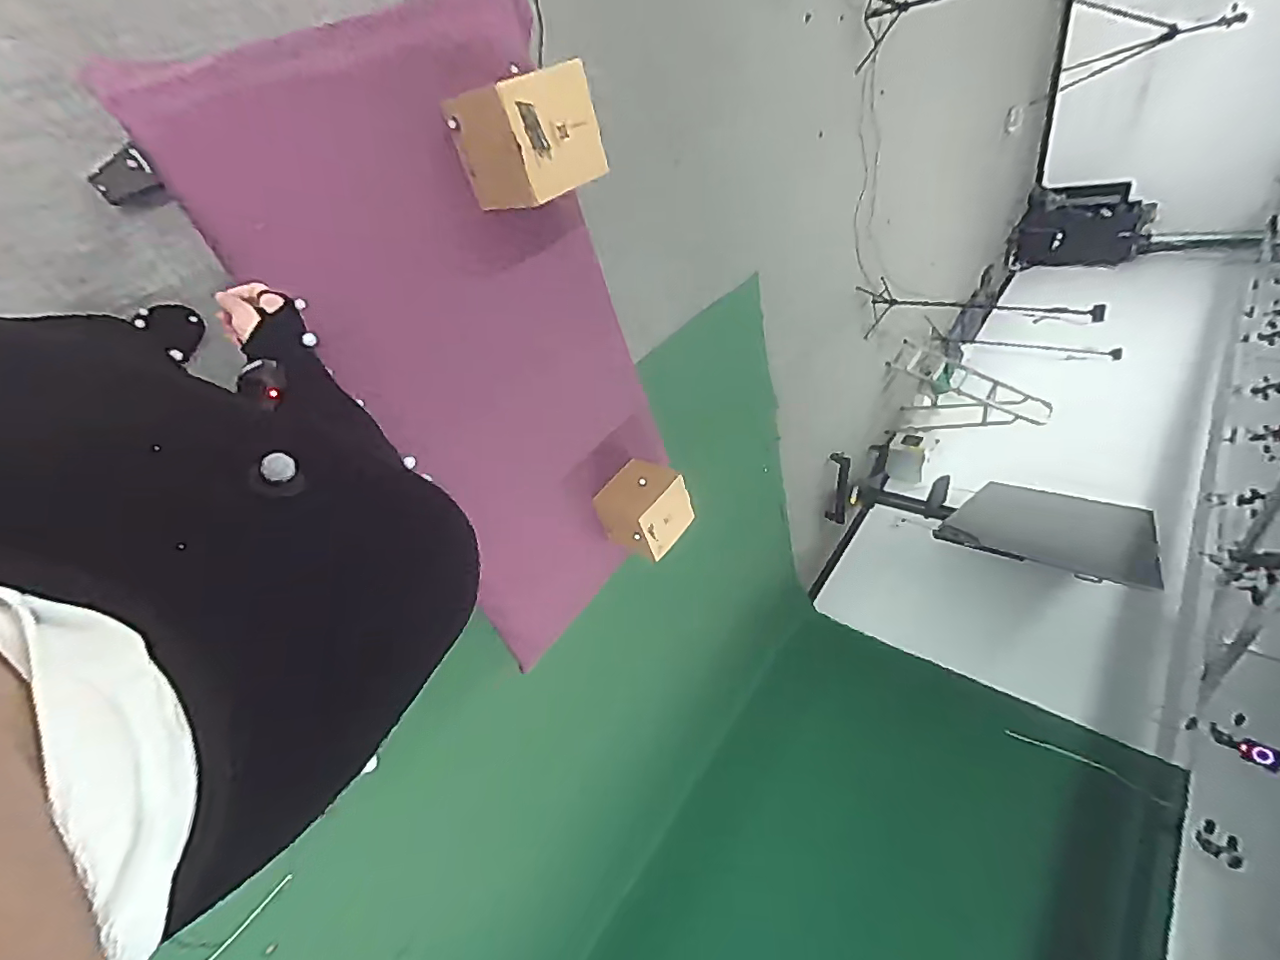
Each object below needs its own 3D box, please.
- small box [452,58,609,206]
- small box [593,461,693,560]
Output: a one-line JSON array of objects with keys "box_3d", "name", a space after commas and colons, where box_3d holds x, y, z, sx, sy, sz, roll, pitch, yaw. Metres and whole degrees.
[{"box_3d": [-0.187, -0.574, 0.906, 0.179, 0.176, 0.168, -43, 135, -30], "name": "small box"}, {"box_3d": [0.009, 0.071, 1.407, 0.179, 0.176, 0.168, -47, 135, -28], "name": "small box"}]
